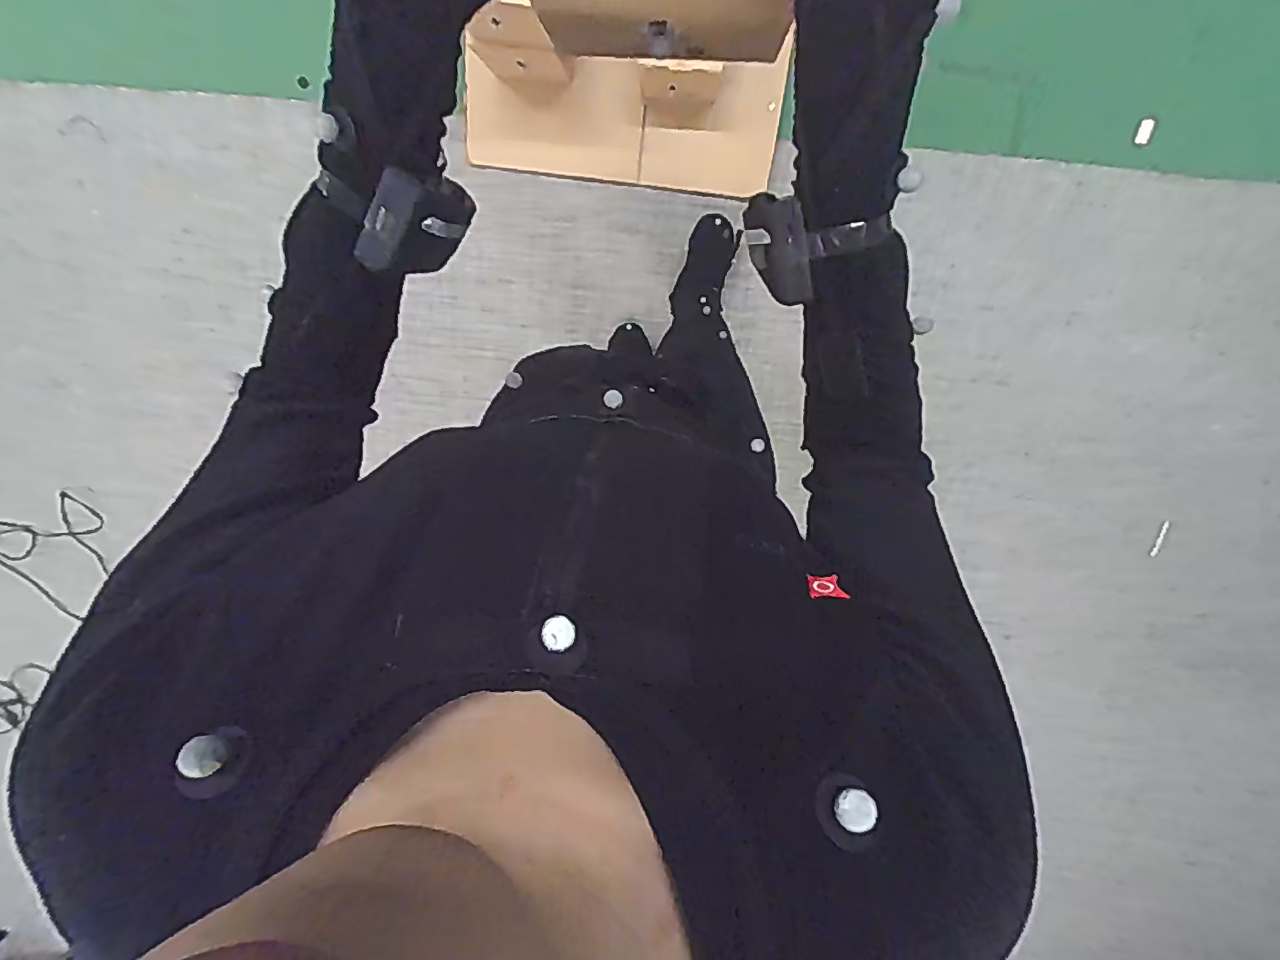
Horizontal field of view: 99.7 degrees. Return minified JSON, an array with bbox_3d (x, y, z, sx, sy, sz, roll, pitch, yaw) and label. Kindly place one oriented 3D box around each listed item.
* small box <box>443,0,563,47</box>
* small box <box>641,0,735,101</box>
[{"bbox_3d":[-0.224,-0.872,0.917,0.179,0.176,0.168,10,110,1],"label":"small box"},{"bbox_3d":[0.093,-0.888,1.075,0.168,0.176,0.179,6,111,1],"label":"small box"}]
